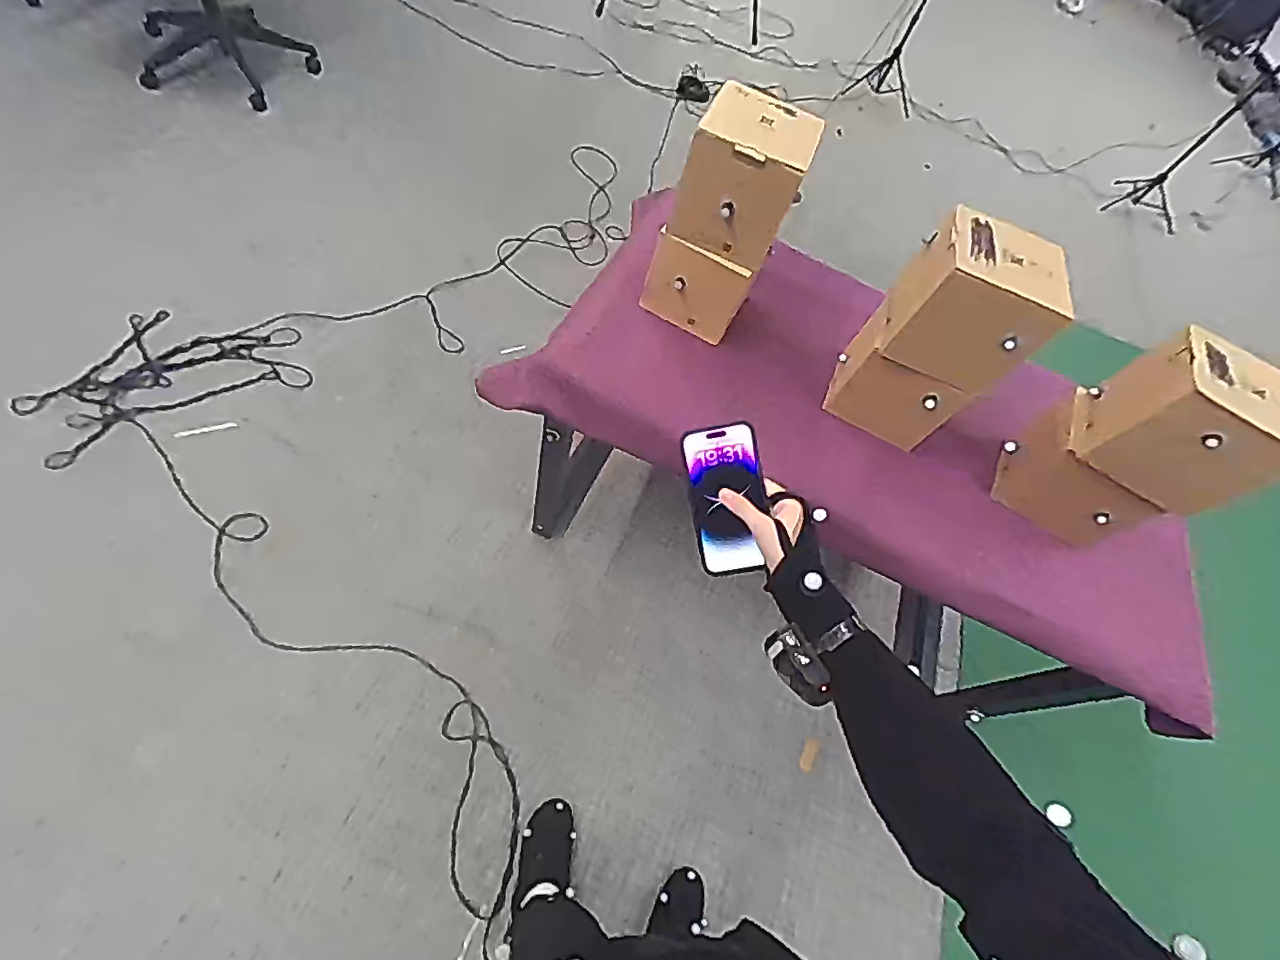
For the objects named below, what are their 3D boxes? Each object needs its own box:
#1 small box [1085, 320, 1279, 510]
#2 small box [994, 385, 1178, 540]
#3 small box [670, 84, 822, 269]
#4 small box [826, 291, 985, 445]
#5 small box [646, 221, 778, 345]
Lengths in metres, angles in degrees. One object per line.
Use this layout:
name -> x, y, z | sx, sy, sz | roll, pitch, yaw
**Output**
small box -> 0.789, -0.086, 0.775 | 0.179, 0.176, 0.168 | 33, 58, 6
small box -> 0.755, -0.020, 0.922 | 0.179, 0.176, 0.168 | 33, 58, 7
small box -> 0.158, -0.469, 0.850 | 0.168, 0.176, 0.179 | 24, 58, 0
small box -> 0.460, -0.187, 0.948 | 0.179, 0.176, 0.168 | 27, 58, 4
small box -> 0.122, -0.381, 0.984 | 0.168, 0.176, 0.179 | 28, 57, 4
